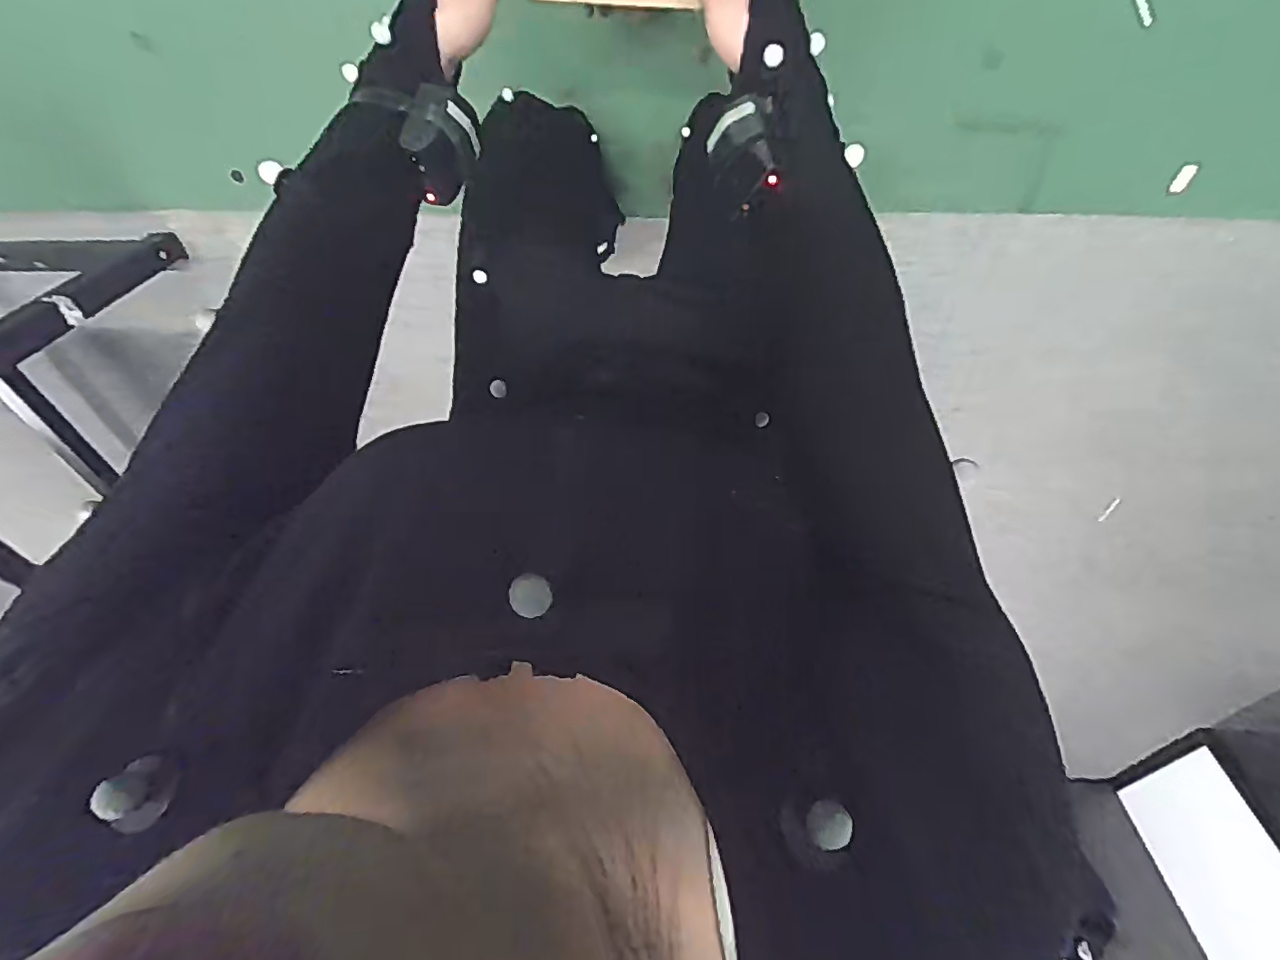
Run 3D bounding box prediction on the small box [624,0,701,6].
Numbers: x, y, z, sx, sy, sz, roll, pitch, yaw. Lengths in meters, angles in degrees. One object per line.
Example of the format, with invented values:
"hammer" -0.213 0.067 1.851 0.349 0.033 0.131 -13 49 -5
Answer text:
"small box" -0.016 -0.579 0.526 0.179 0.176 0.168 3 134 0
